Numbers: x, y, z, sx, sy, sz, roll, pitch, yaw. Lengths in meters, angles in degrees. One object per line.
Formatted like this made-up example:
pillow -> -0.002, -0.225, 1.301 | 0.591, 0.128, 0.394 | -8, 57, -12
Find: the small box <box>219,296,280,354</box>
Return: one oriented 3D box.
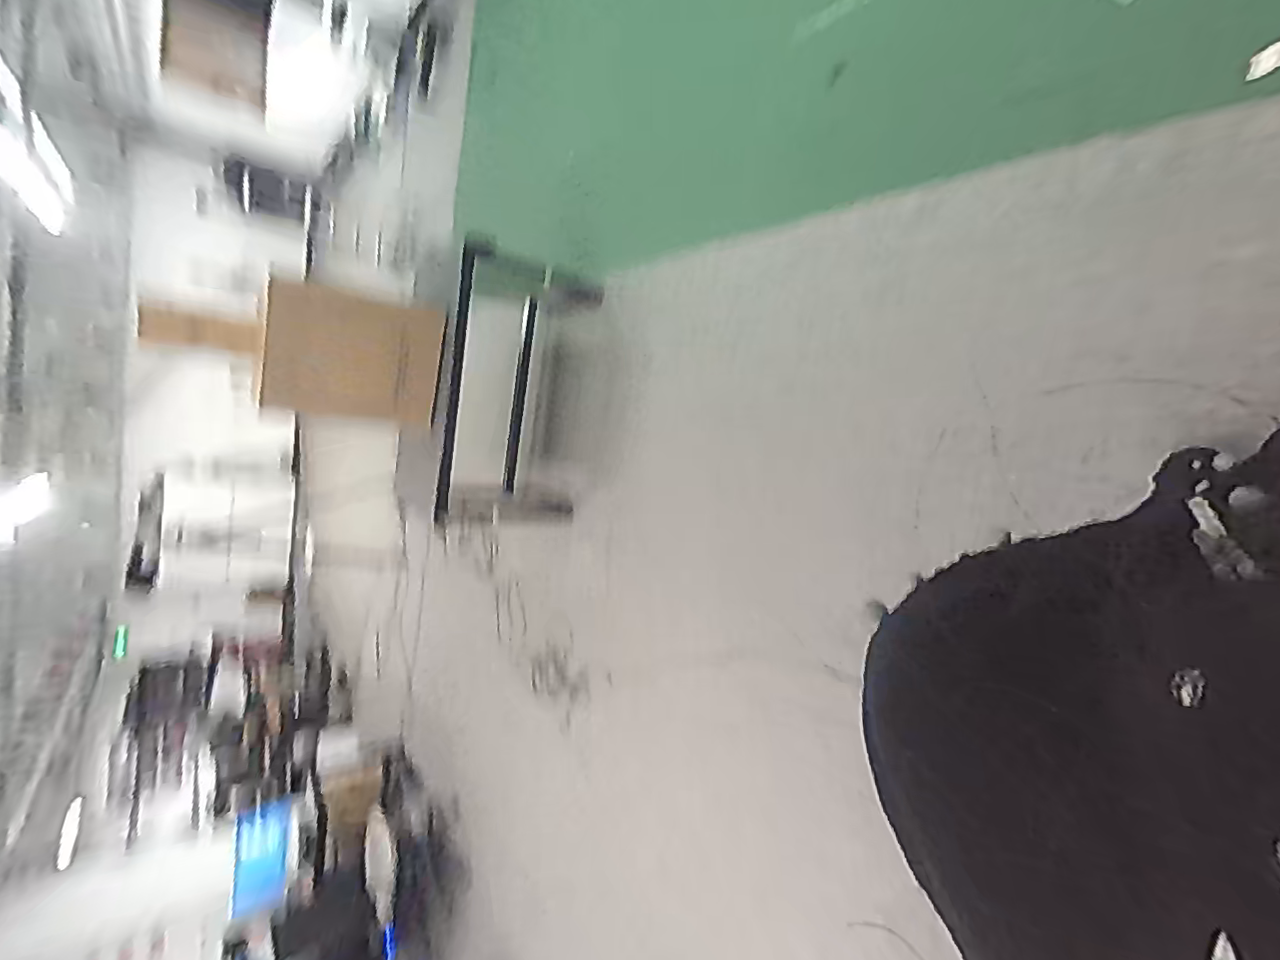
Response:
small box -> -1.420, -0.561, 1.965 | 0.179, 0.176, 0.168 | 26, 108, 47
